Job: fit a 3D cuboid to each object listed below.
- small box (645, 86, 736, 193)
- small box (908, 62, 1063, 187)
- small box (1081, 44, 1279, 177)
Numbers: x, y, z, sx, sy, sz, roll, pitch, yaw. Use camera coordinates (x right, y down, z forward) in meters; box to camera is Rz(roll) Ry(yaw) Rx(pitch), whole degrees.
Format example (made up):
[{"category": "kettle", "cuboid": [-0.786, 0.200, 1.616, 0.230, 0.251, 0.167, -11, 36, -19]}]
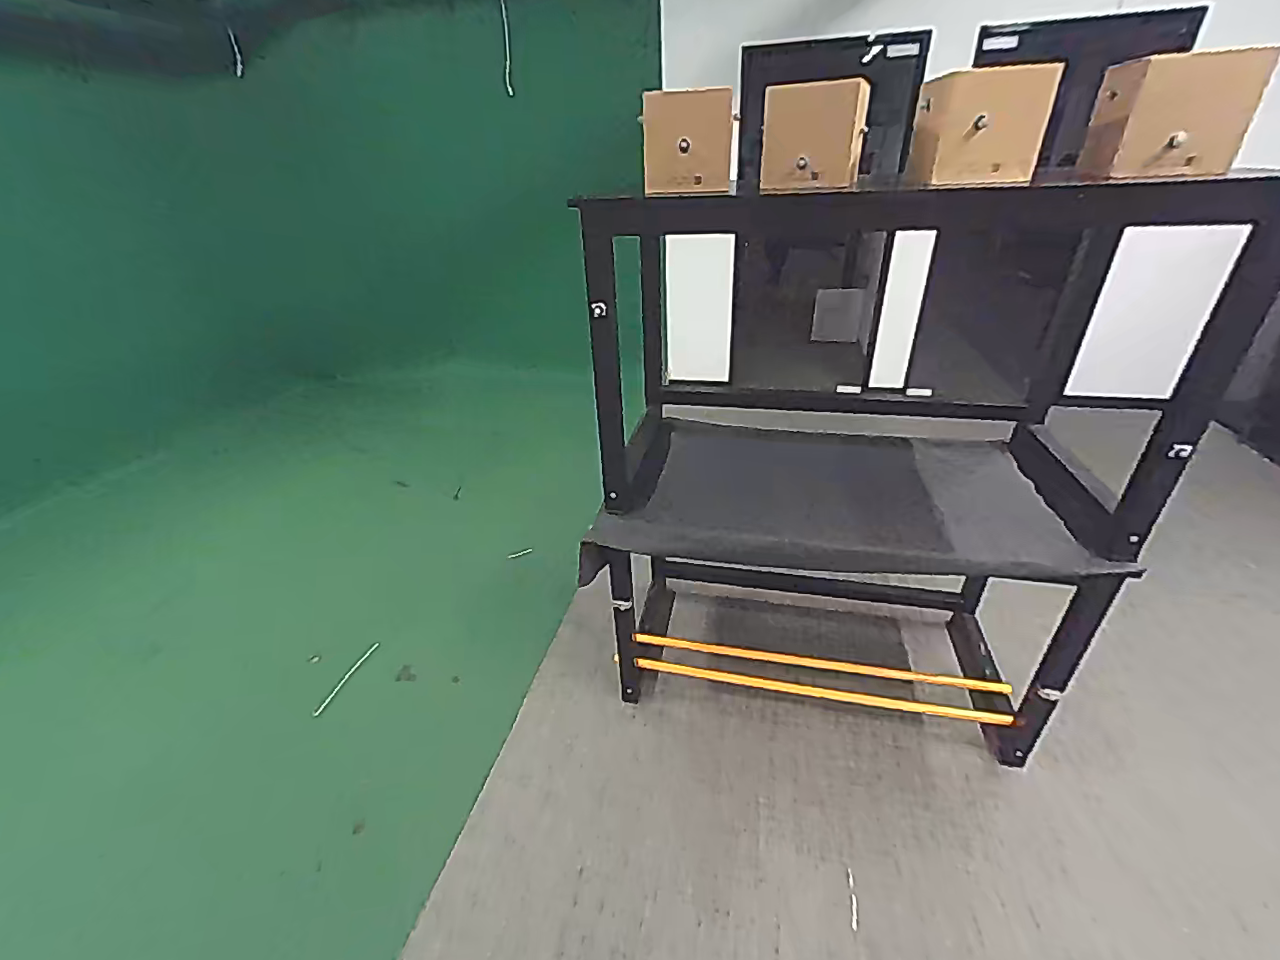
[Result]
[{"category": "small box", "cuboid": [0.106, -0.676, 1.089, 0.168, 0.176, 0.179, 3, 31, 8]}, {"category": "small box", "cuboid": [0.605, -0.629, 0.973, 0.168, 0.176, 0.179, 2, 30, 8]}, {"category": "small box", "cuboid": [0.892, -0.613, 0.915, 0.168, 0.176, 0.179, 7, 33, 17]}]
